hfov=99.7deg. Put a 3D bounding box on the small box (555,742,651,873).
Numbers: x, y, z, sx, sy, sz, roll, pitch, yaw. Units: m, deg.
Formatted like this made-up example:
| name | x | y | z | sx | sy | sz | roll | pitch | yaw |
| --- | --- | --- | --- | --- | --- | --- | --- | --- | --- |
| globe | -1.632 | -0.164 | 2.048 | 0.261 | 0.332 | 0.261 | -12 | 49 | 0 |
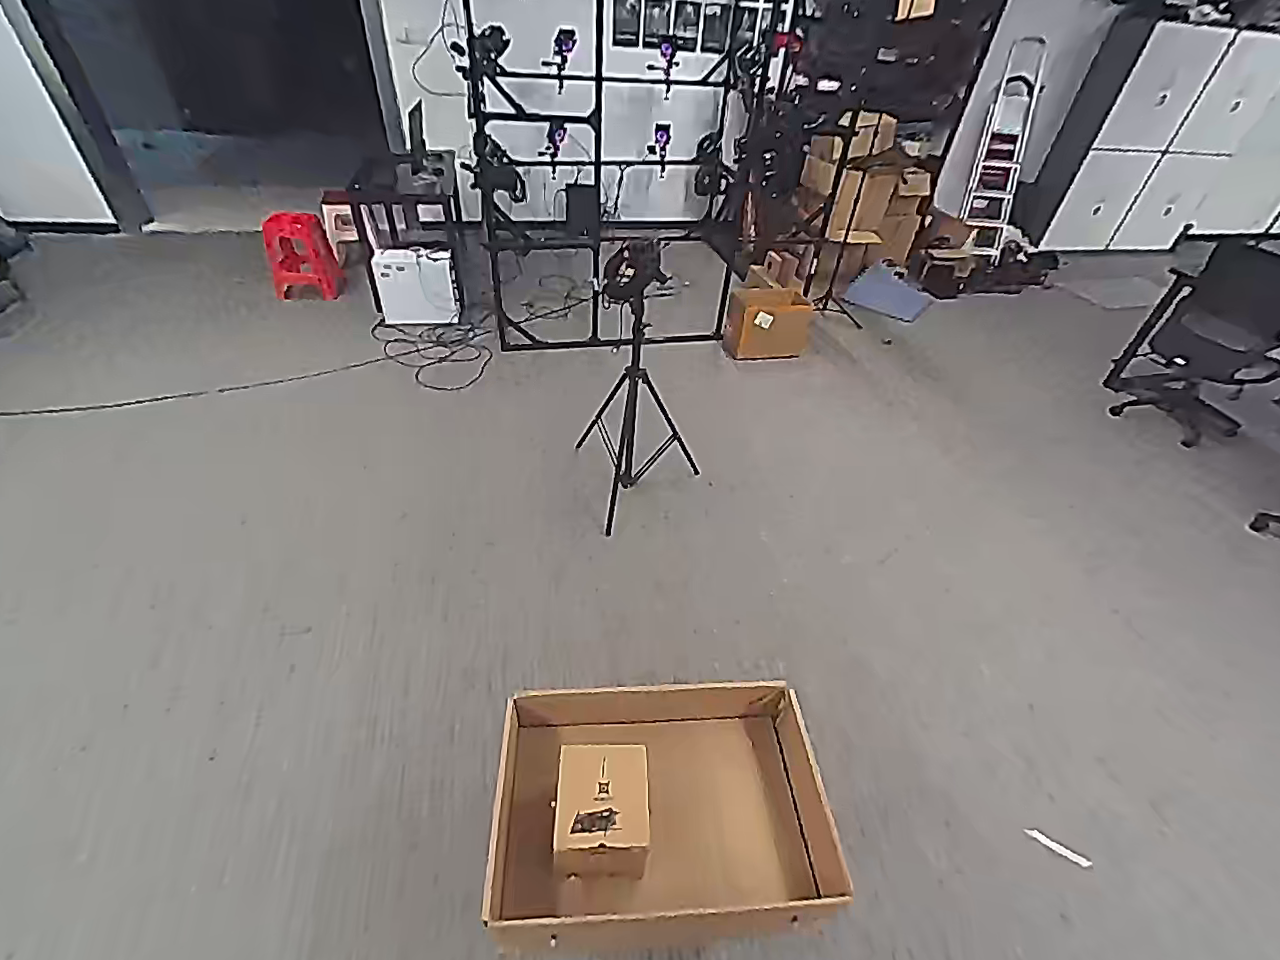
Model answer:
| name | x | y | z | sx | sy | sz | roll | pitch | yaw |
| --- | --- | --- | --- | --- | --- | --- | --- | --- | --- |
| small box | -0.067 | 0.623 | 1.025 | 0.168 | 0.176 | 0.179 | 2 | 39 | -3 |
